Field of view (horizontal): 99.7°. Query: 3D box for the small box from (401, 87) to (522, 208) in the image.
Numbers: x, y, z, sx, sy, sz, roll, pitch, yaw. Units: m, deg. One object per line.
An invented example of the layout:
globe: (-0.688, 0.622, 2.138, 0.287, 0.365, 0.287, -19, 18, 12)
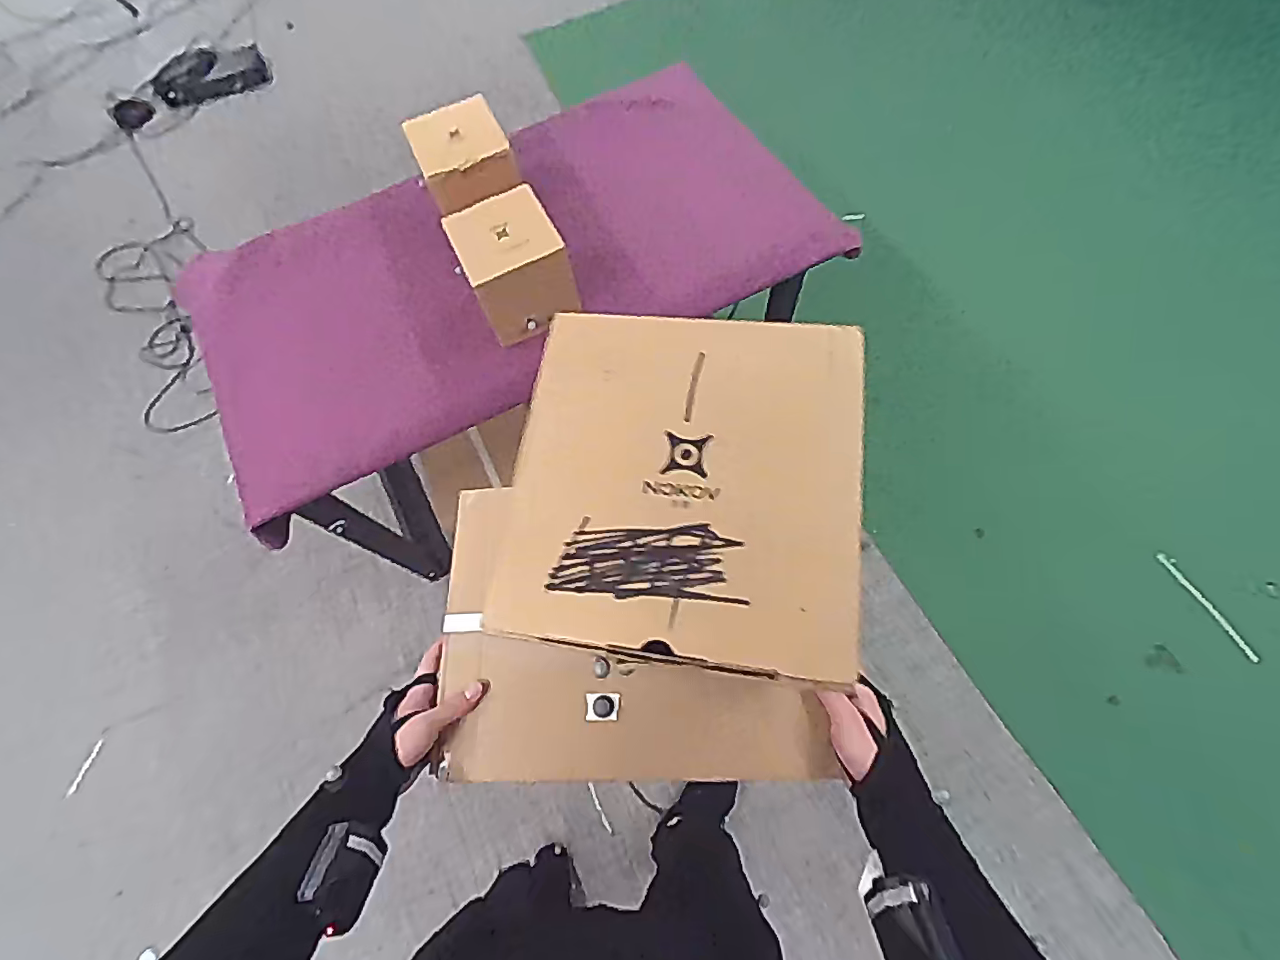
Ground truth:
small box: (-0.336, -0.617, 1.064, 0.168, 0.176, 0.179, -25, 69, -6)

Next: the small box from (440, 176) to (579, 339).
small box: (-0.224, -0.388, 0.961, 0.168, 0.176, 0.179, -26, 68, -5)

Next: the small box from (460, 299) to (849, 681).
small box: (0.021, 0.017, 0.327, 0.168, 0.176, 0.179, 5, 71, 10)

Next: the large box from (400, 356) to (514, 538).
large box: (-0.422, -0.067, 1.562, 0.320, 0.320, 0.408, -27, 67, -7)
